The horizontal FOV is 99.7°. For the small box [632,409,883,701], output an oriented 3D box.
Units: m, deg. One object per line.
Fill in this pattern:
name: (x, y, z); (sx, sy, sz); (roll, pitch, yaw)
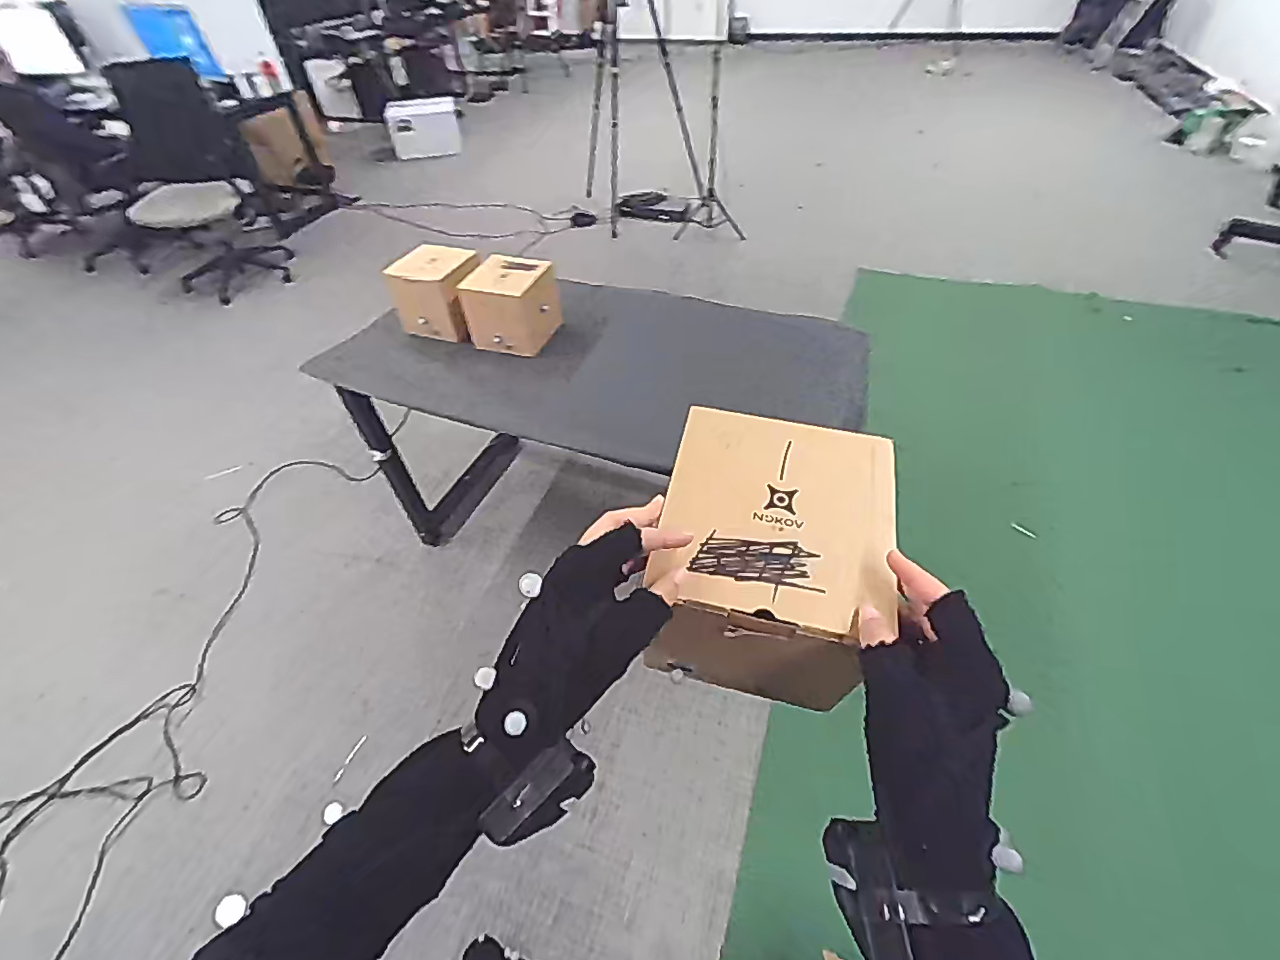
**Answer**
small box: (0.097, 0.068, 0.463); (0.168, 0.176, 0.179); (10, 54, 9)

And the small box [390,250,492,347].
small box: (-0.504, -0.472, 1.407); (0.168, 0.176, 0.179); (14, 48, 16)
